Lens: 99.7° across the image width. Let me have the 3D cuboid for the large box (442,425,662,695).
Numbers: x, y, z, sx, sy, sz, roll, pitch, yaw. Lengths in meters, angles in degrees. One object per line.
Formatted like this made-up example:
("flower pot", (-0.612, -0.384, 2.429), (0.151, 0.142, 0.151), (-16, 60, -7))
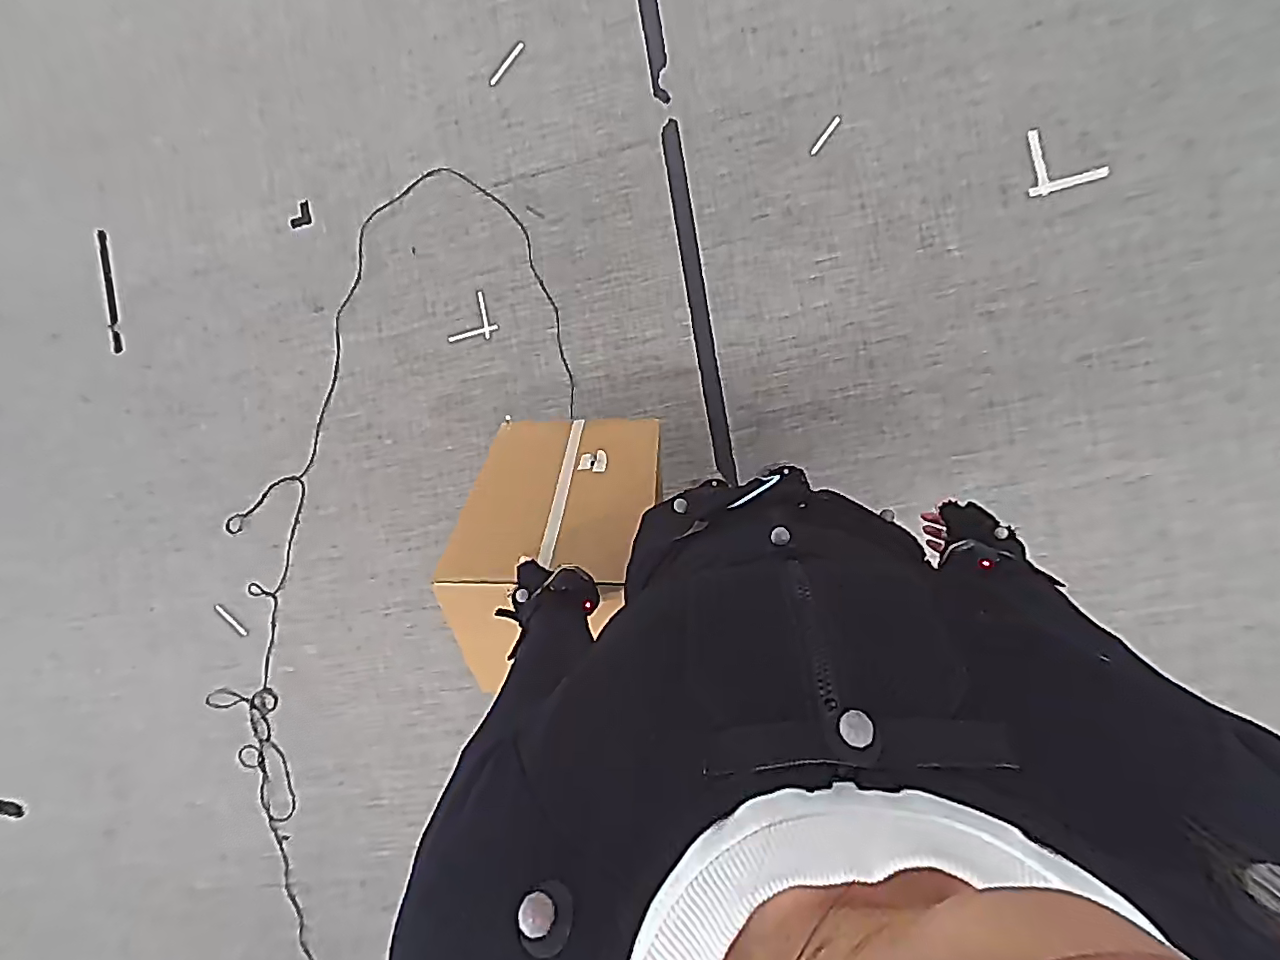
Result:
("large box", (-0.117, 0.138, 1.004), (0.320, 0.408, 0.320), (0, 129, 4))
